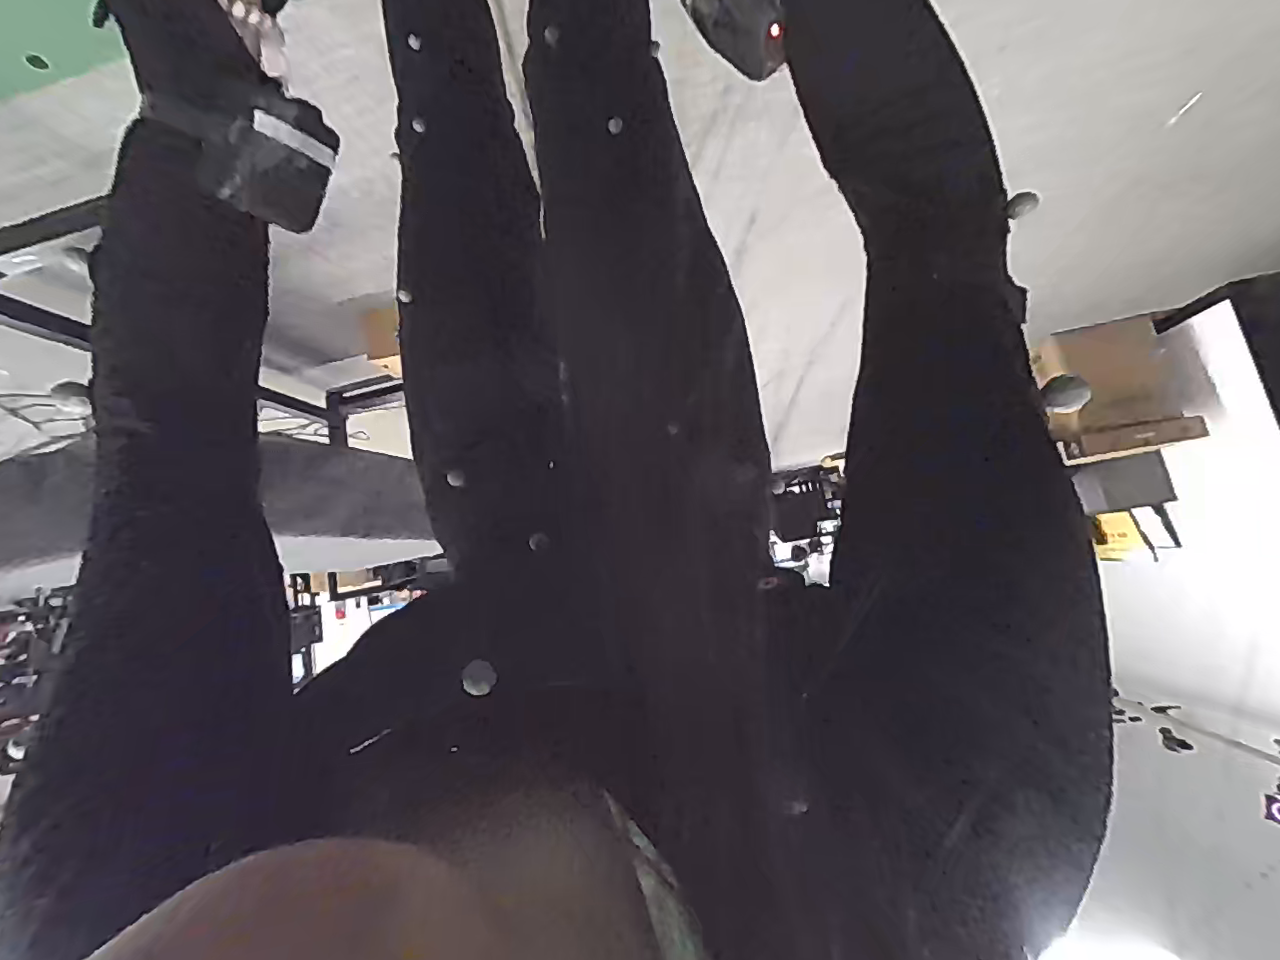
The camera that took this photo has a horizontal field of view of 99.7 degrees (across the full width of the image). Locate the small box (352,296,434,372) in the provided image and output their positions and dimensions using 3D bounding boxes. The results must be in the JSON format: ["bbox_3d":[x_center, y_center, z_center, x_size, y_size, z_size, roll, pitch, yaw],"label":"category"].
[{"bbox_3d":[-0.780,-0.462,1.709,0.179,0.176,0.168,-11,172,3],"label":"small box"}]
